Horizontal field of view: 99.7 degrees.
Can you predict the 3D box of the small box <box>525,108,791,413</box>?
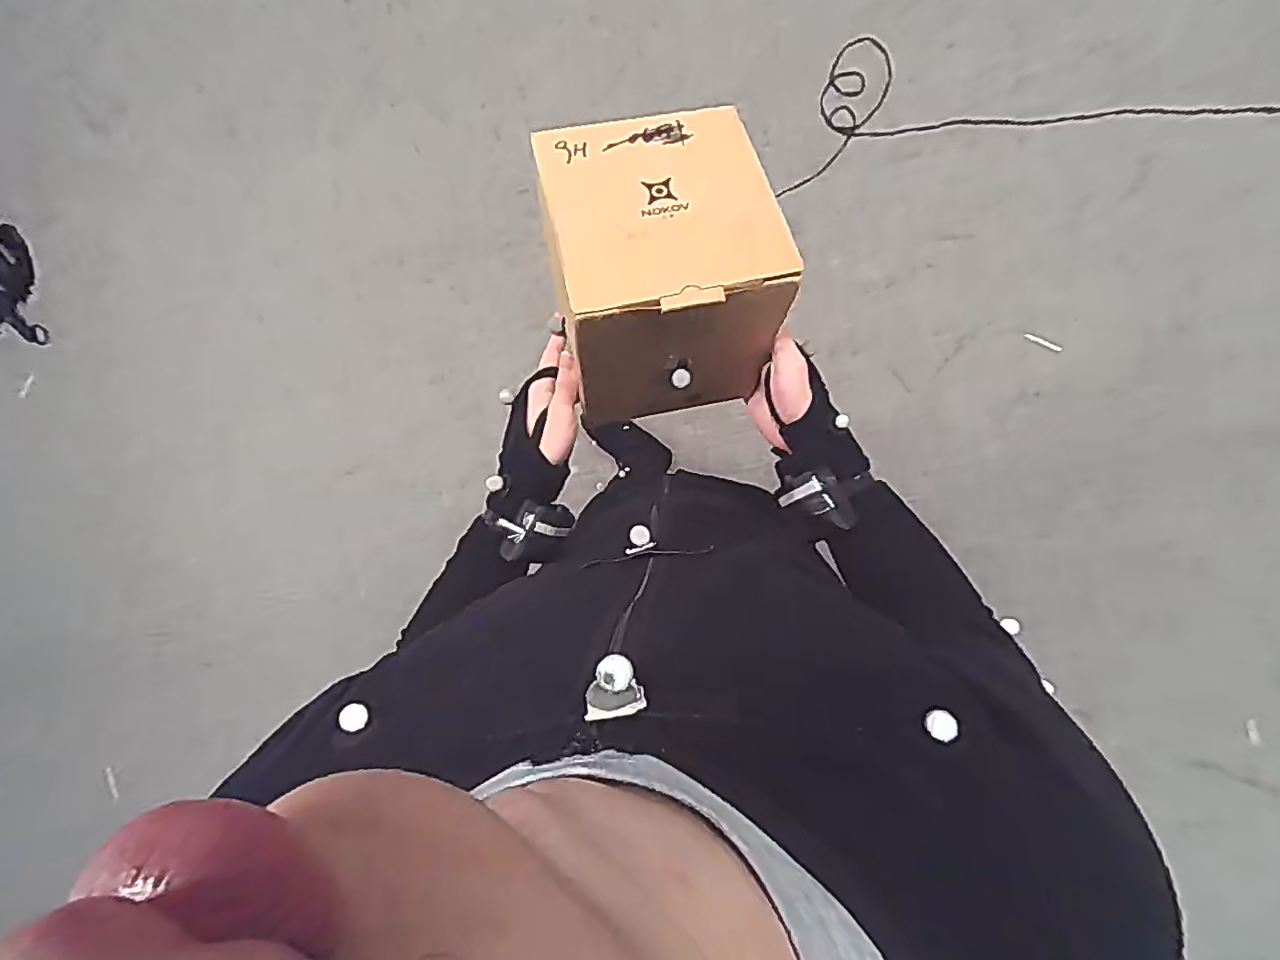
[{"bbox_3d":[0.005,-0.170,0.464,0.168,0.176,0.179,-11,72,-7],"label":"small box"}]
